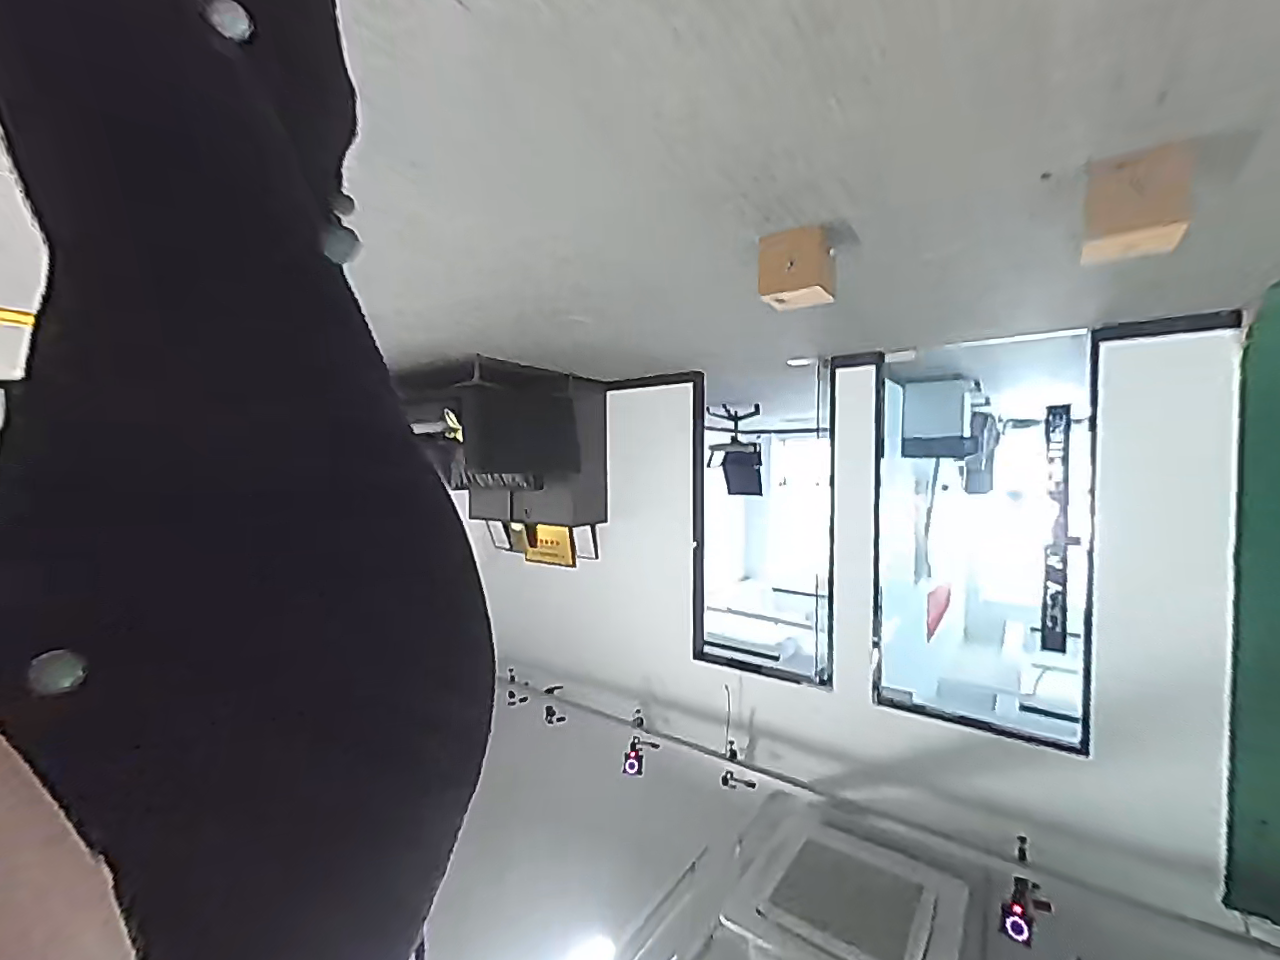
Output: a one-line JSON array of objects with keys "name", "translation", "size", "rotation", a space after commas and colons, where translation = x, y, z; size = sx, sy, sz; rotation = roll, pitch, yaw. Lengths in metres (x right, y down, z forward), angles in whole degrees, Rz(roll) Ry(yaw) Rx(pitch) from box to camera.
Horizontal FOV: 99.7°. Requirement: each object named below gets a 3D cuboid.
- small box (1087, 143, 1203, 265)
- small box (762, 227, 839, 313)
[{"name": "small box", "translation": [1.067, -0.585, 1.154], "size": [0.168, 0.176, 0.179], "rotation": [2, -177, 37]}, {"name": "small box", "translation": [0.461, -0.594, 1.542], "size": [0.179, 0.176, 0.168], "rotation": [0, -178, 36]}]
